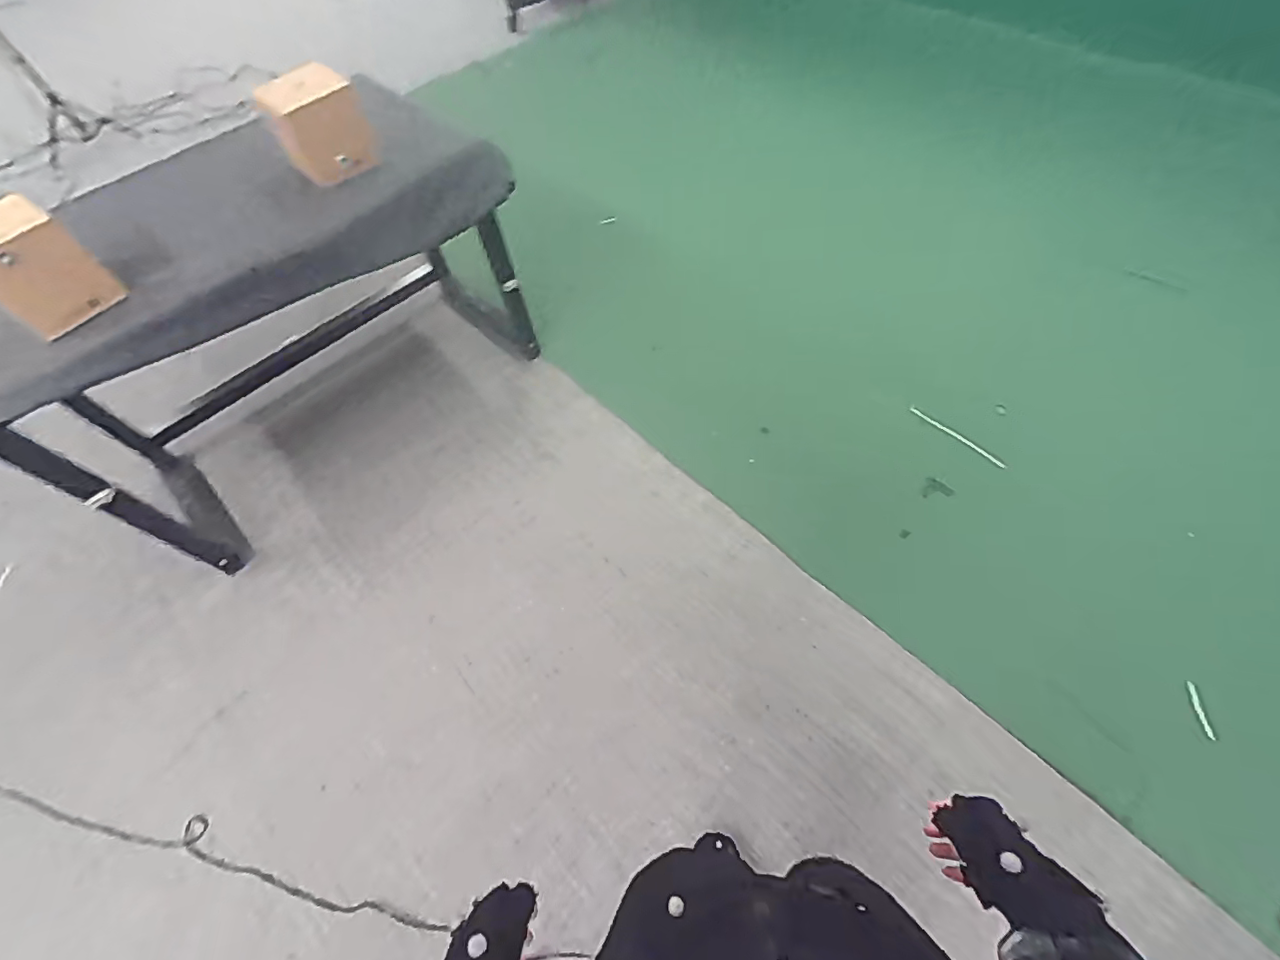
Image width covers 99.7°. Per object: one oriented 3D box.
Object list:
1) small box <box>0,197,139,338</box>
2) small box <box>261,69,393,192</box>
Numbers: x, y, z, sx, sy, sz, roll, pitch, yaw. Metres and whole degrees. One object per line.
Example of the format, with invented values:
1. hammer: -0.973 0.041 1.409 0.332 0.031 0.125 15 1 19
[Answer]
1. small box: -1.137 -0.404 1.038 0.179 0.176 0.168 31 67 24
2. small box: -0.715 -0.803 1.250 0.168 0.176 0.179 -42 64 -17
